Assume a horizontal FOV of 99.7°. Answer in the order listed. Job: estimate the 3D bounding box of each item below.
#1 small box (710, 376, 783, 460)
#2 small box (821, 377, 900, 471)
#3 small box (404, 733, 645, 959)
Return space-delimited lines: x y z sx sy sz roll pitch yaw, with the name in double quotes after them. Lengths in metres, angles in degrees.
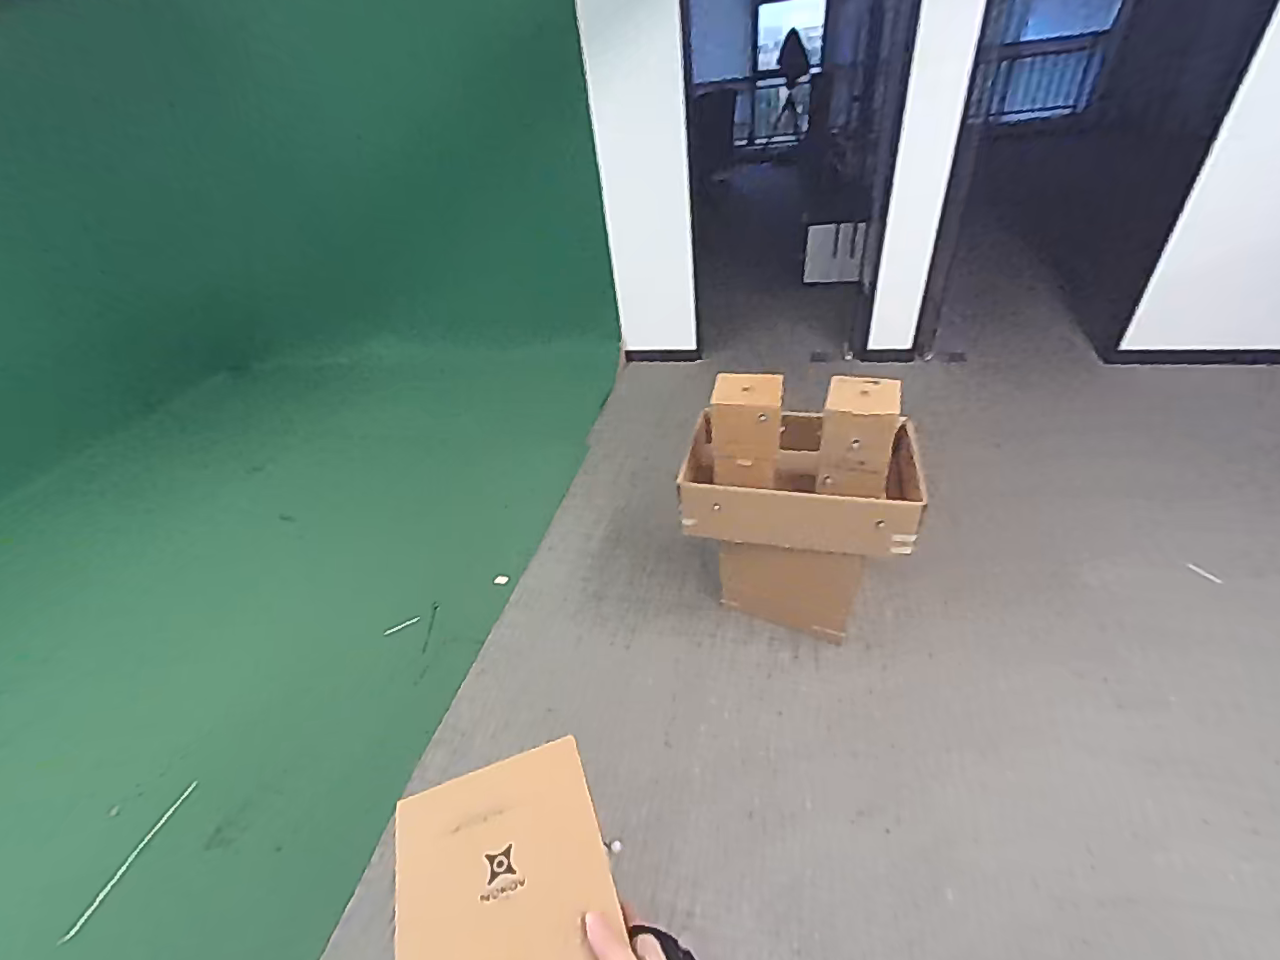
0.291 -0.167 1.464 0.179 0.176 0.168 4 40 15 "small box"
0.559 -0.143 1.376 0.168 0.176 0.179 8 42 21 "small box"
-0.098 0.375 0.488 0.168 0.176 0.179 -15 37 -11 "small box"
